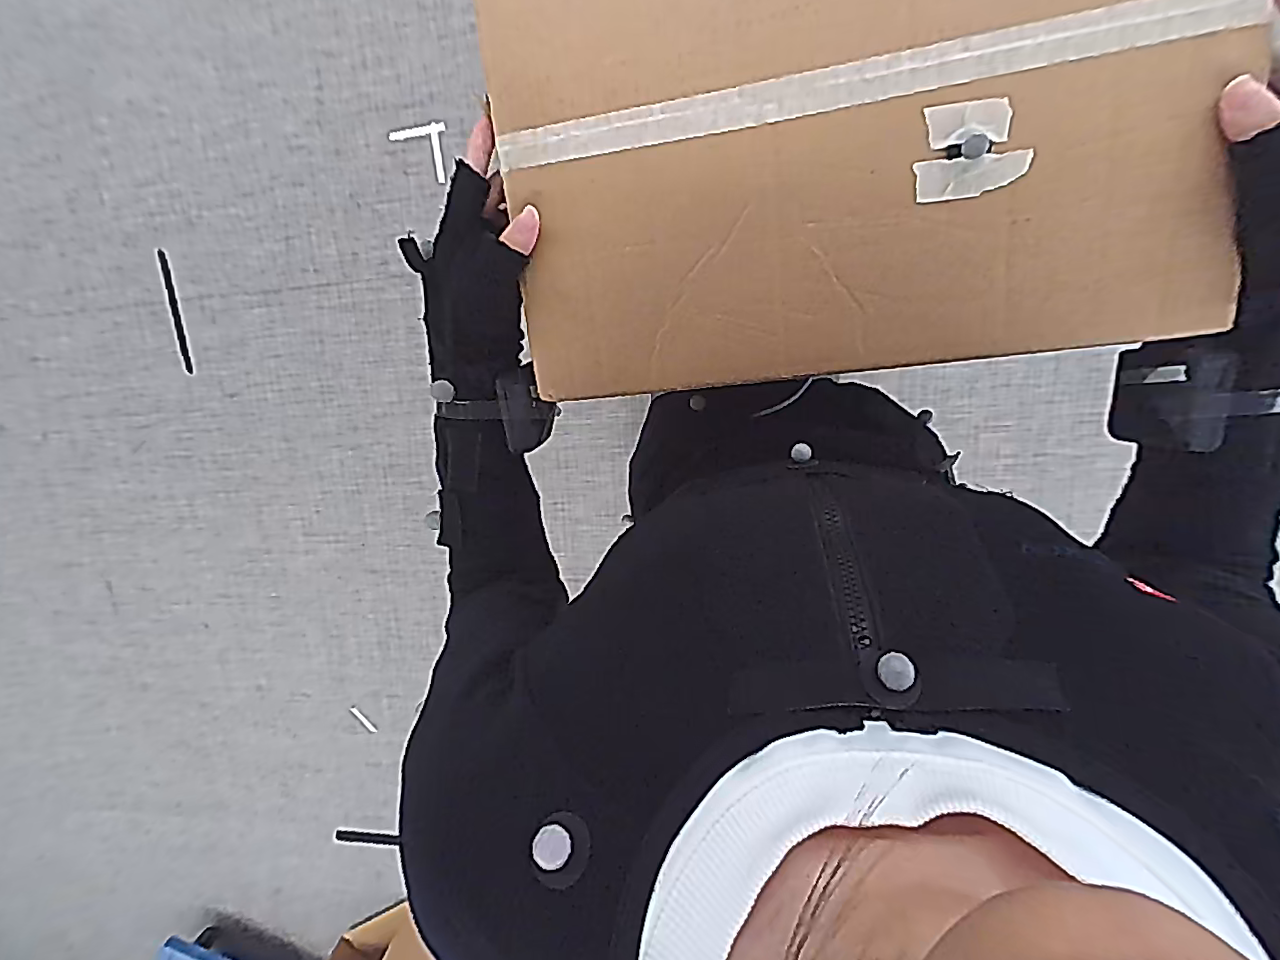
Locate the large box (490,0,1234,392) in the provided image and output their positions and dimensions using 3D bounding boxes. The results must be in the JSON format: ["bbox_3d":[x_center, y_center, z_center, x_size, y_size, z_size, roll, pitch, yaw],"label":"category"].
[{"bbox_3d":[0.134,-0.262,0.458,0.408,0.320,0.320,-5,103,10],"label":"large box"}]
